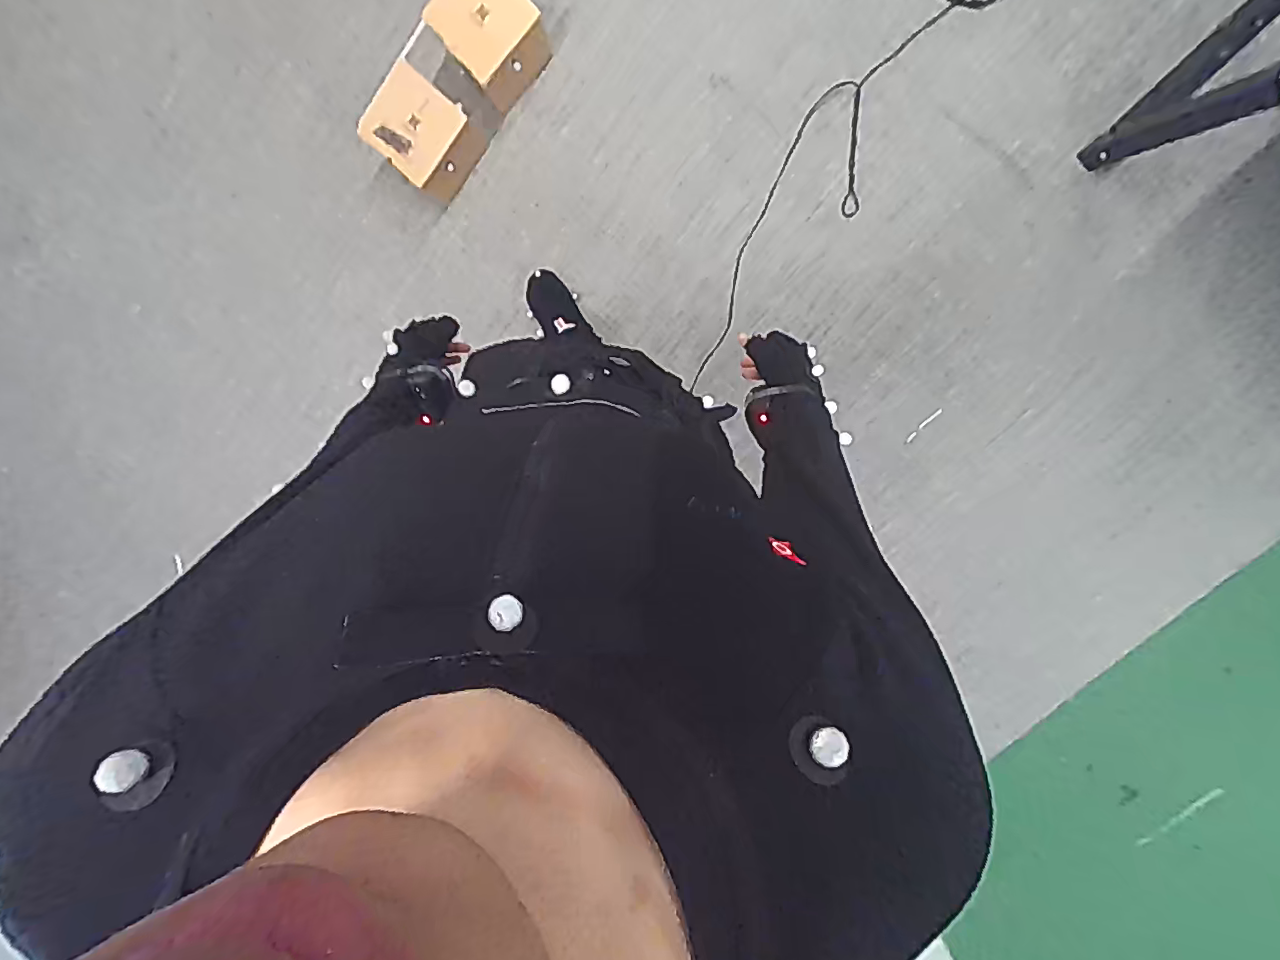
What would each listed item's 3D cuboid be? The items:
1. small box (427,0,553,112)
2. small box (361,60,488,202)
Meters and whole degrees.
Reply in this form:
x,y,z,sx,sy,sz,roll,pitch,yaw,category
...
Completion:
x,y,z,sx,sy,sz,roll,pitch,yaw,category
-0.300,-0.925,1.130,0.179,0.176,0.168,-42,102,13,small box
-0.460,-0.747,1.185,0.168,0.176,0.179,40,103,-10,small box
